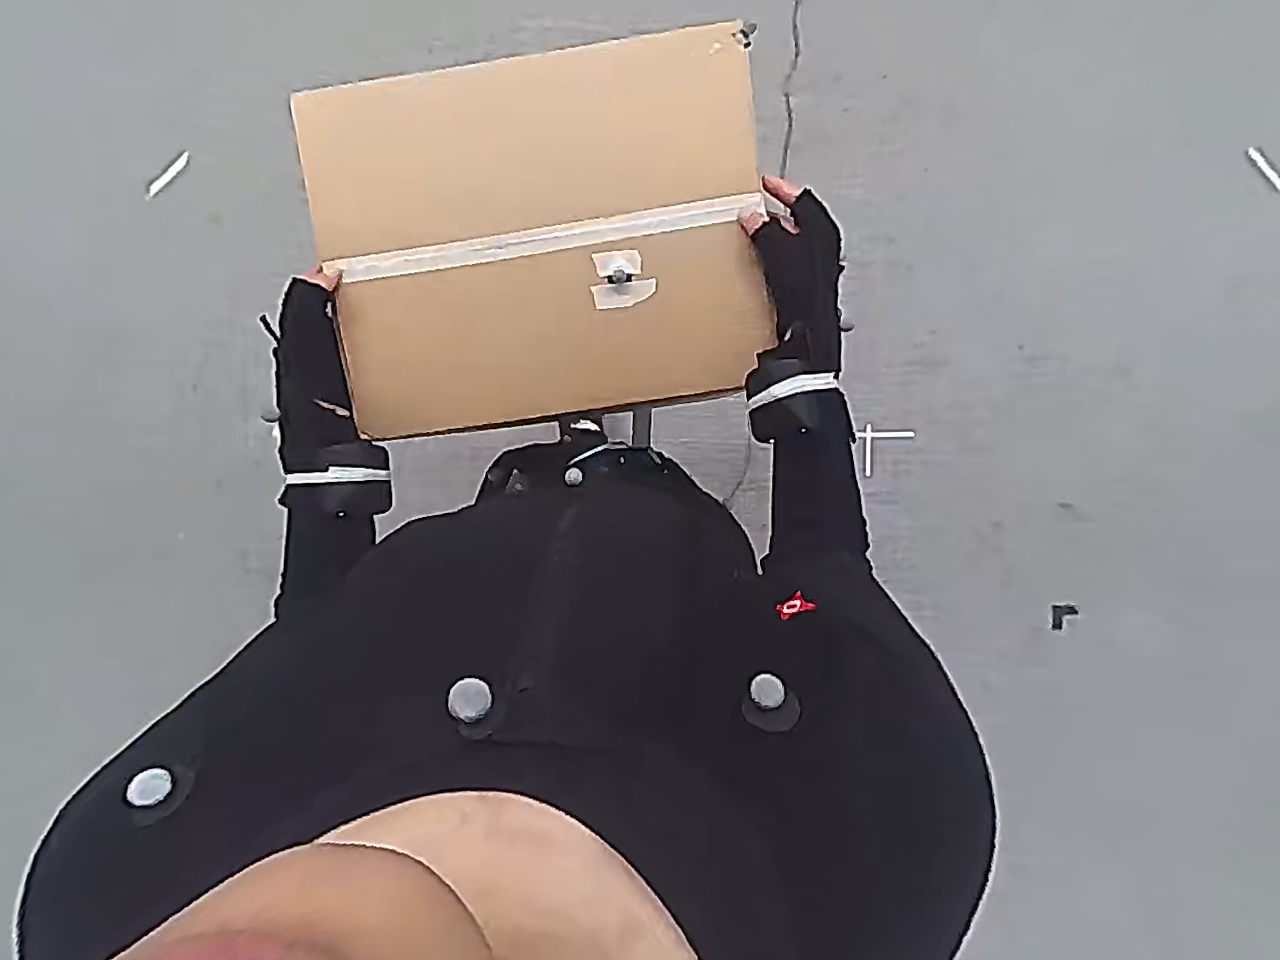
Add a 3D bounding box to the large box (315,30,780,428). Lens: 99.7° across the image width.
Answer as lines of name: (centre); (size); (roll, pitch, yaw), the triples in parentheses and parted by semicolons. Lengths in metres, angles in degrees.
large box: (-0.084, -0.244, 0.652); (0.408, 0.320, 0.320); (-7, 97, 0)
